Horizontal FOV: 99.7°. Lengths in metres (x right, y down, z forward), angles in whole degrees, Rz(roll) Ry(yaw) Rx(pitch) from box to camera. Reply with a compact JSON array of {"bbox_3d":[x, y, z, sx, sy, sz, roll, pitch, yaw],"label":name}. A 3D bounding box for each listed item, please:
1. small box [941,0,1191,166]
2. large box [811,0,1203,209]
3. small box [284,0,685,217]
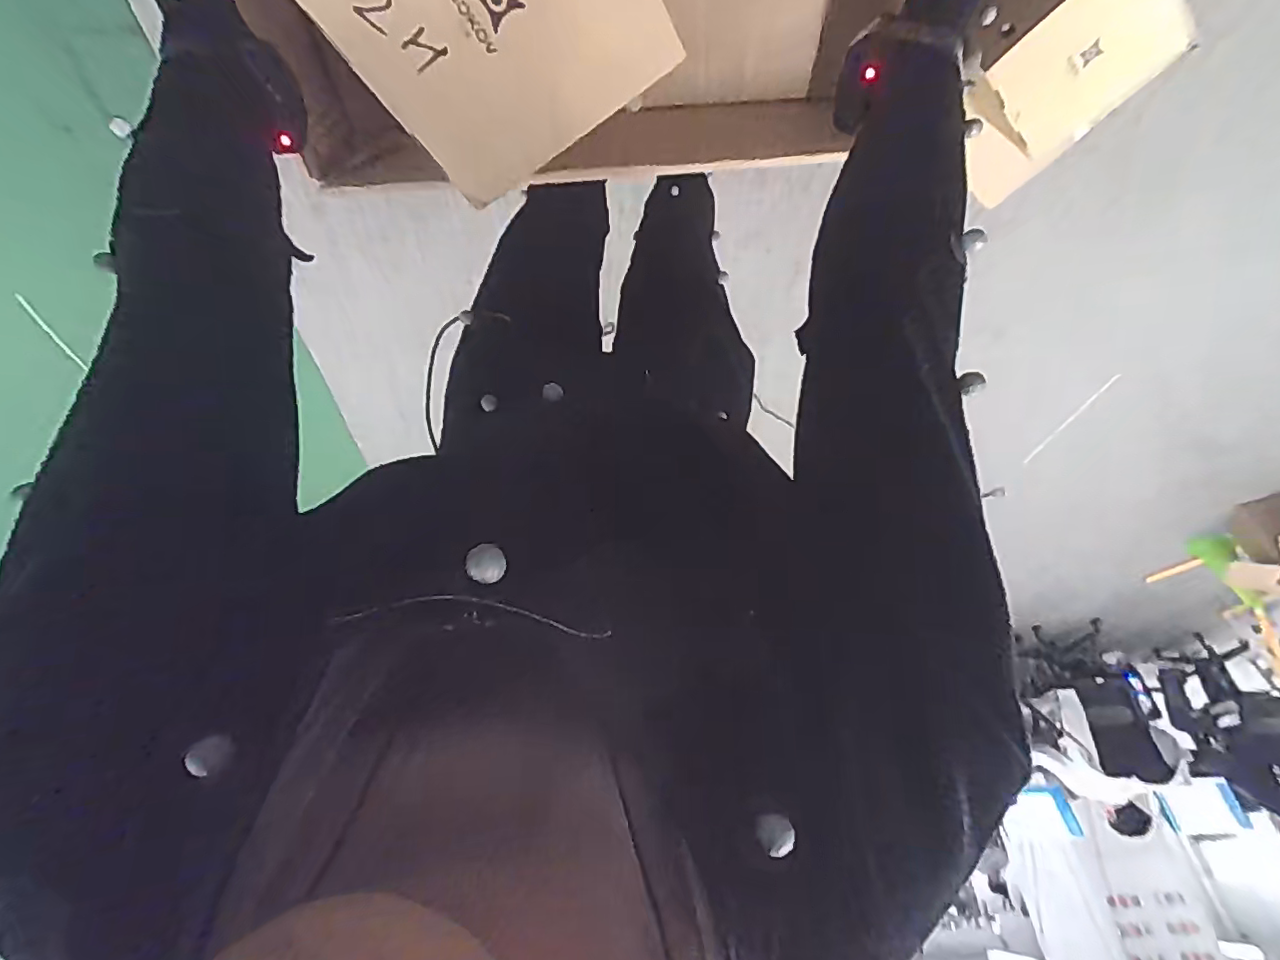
[{"bbox_3d":[0.530,-0.562,0.691,0.168,0.176,0.179,25,135,-33],"label":"small box"},{"bbox_3d":[0.551,-0.740,0.862,0.408,0.320,0.320,21,138,-30],"label":"large box"},{"bbox_3d":[-0.091,-0.321,0.347,0.179,0.176,0.168,-22,138,23],"label":"small box"}]
